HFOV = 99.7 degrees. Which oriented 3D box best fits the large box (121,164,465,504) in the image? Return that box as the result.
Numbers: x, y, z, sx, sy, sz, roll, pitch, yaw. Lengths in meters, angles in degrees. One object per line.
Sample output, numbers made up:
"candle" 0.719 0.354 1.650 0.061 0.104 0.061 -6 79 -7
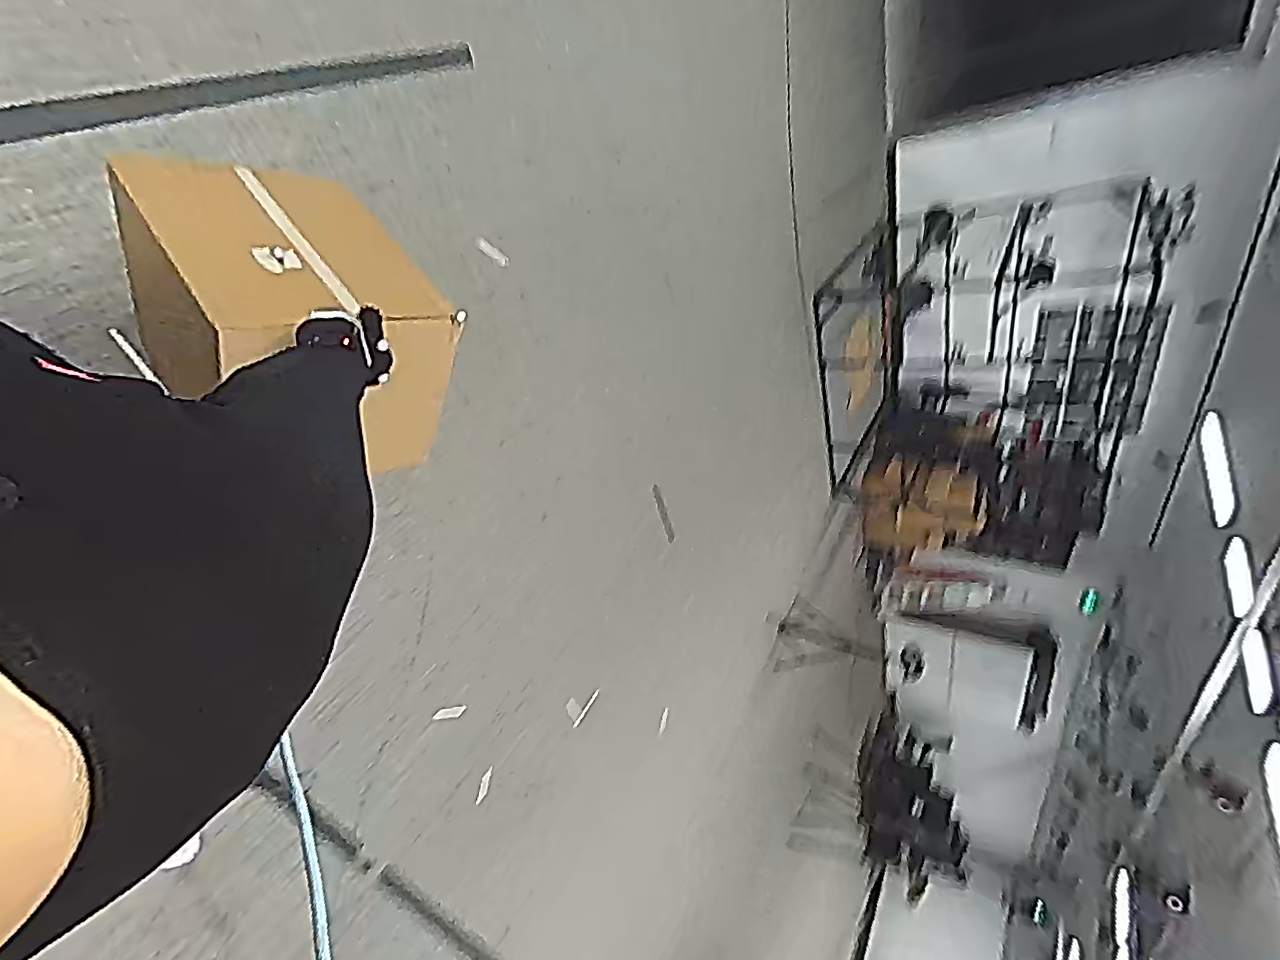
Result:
"large box" -0.560 -0.234 0.883 0.320 0.408 0.320 -22 153 -46
